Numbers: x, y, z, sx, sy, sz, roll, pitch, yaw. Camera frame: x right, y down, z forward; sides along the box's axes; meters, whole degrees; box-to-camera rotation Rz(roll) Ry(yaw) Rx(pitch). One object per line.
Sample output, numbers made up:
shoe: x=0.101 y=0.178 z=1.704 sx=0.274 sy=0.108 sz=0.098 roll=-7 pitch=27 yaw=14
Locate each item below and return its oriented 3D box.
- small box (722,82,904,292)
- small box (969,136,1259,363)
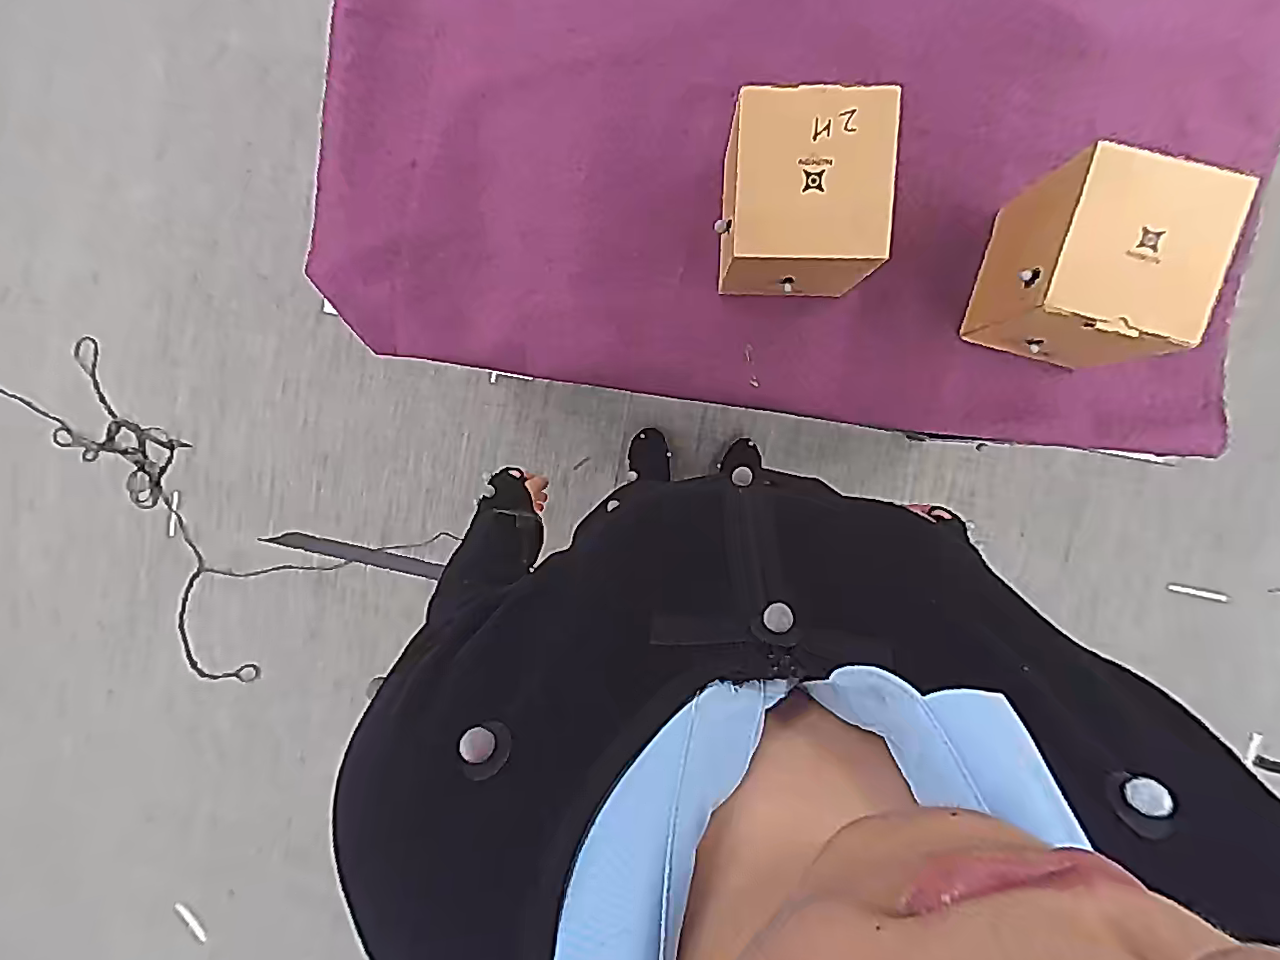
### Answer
small box: x=0.190 y=-0.330 z=0.643 sx=0.168 sy=0.176 sz=0.179 roll=2 pitch=95 yaw=3
small box: x=0.526 y=-0.250 z=0.631 sx=0.168 sy=0.176 sz=0.179 roll=15 pitch=95 yaw=2
